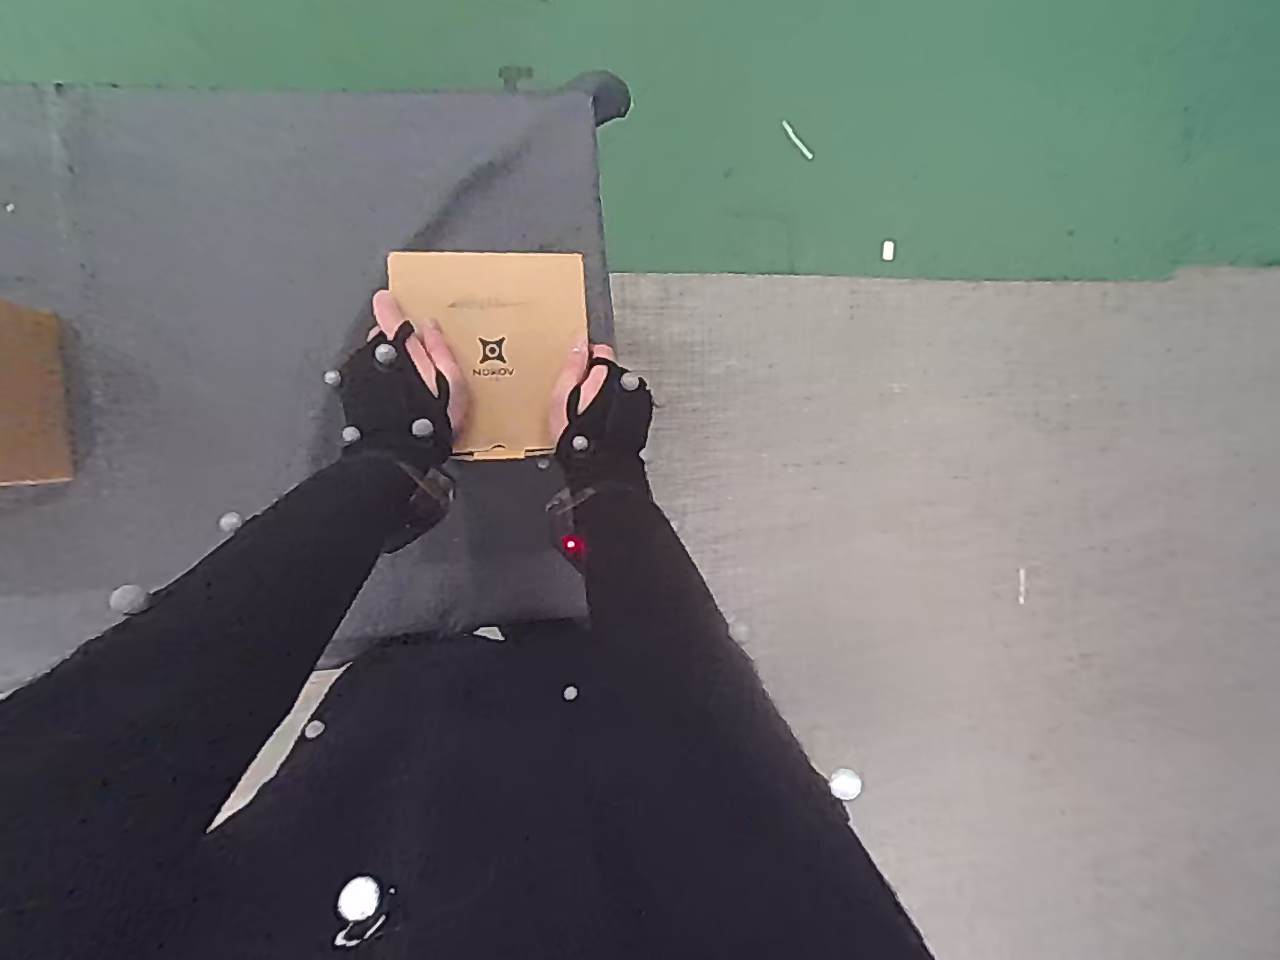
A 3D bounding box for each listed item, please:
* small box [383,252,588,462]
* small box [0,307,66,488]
[{"bbox_3d":[-0.142,-0.113,0.546,0.168,0.176,0.179,-4,93,-9],"label":"small box"},{"bbox_3d":[-0.664,-0.075,0.469,0.168,0.176,0.179,-3,93,-8],"label":"small box"}]
